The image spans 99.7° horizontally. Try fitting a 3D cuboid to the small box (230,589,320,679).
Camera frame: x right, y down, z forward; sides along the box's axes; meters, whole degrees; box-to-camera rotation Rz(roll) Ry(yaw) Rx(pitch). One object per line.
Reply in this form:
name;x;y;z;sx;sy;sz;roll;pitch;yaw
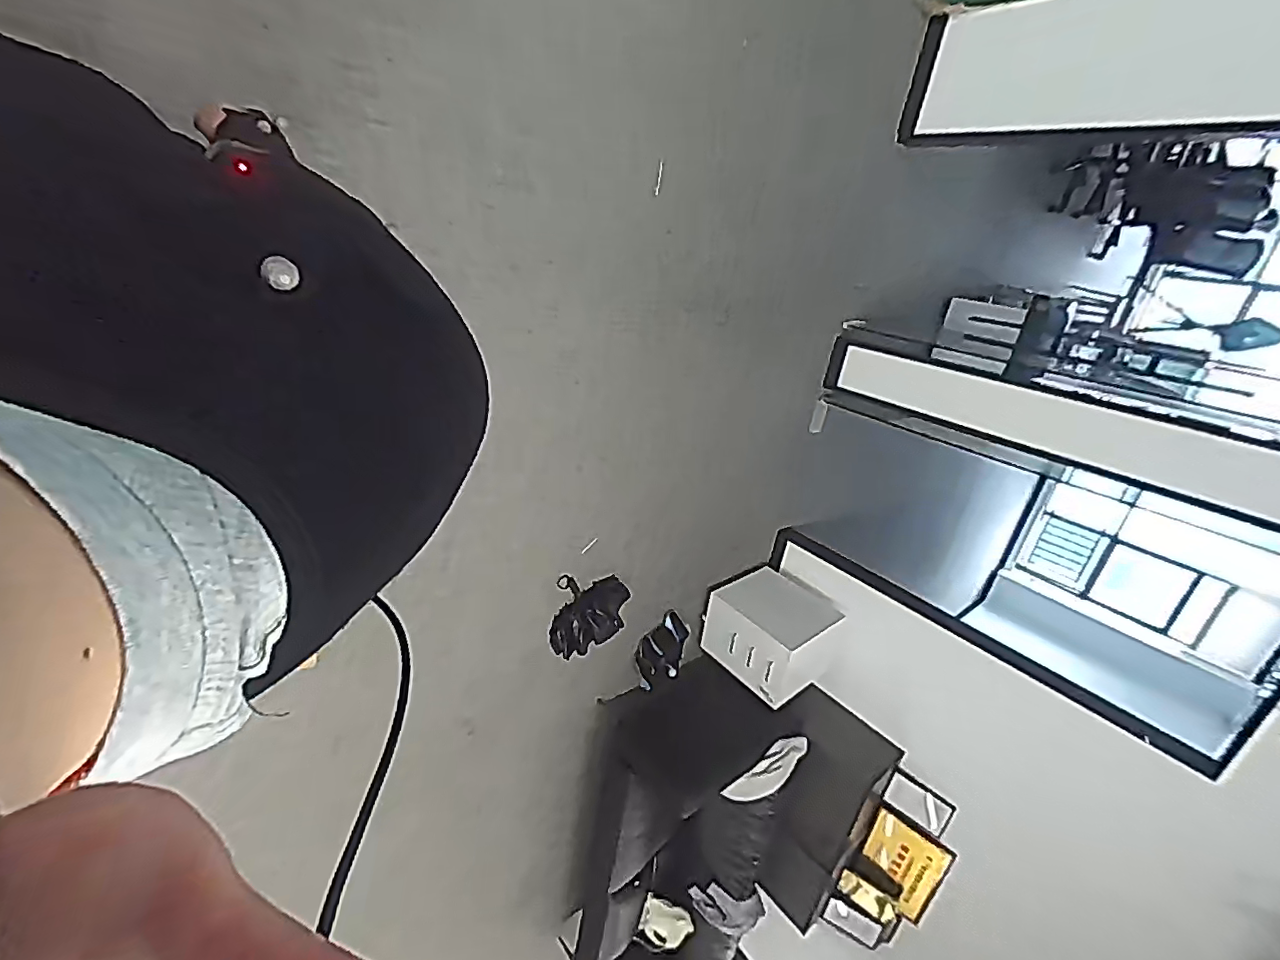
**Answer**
small box;-1.018;0.419;1.507;0.179;0.176;0.168;1;111;-43
